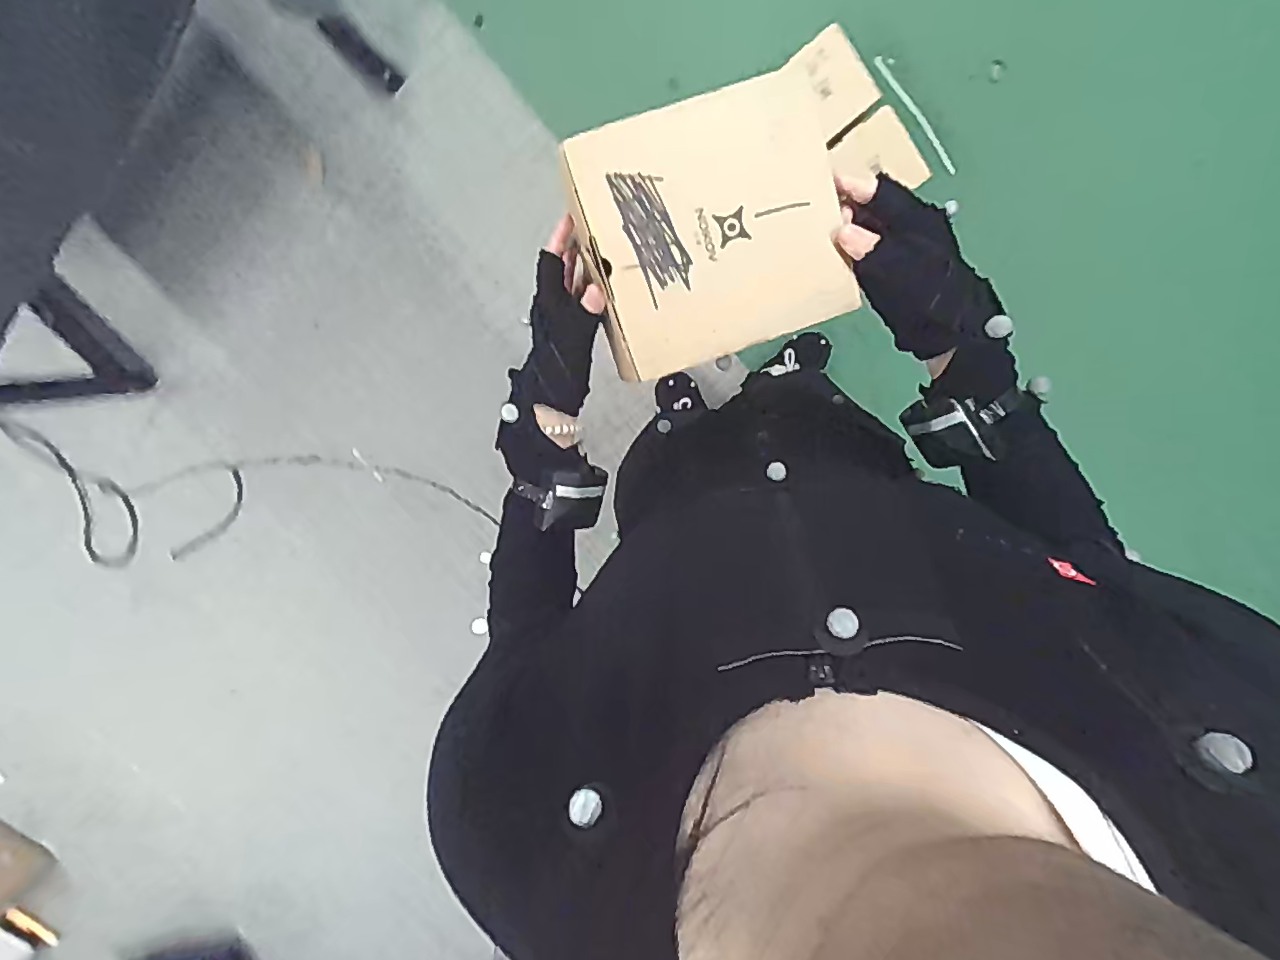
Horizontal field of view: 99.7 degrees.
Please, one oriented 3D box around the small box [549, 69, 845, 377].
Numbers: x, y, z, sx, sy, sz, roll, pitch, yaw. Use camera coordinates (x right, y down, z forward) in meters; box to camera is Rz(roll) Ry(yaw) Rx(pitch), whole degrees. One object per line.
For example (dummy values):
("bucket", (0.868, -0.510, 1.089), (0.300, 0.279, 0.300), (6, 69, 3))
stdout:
("small box", (0.037, -0.189, 0.455), (0.179, 0.176, 0.168), (-20, 102, -3))
